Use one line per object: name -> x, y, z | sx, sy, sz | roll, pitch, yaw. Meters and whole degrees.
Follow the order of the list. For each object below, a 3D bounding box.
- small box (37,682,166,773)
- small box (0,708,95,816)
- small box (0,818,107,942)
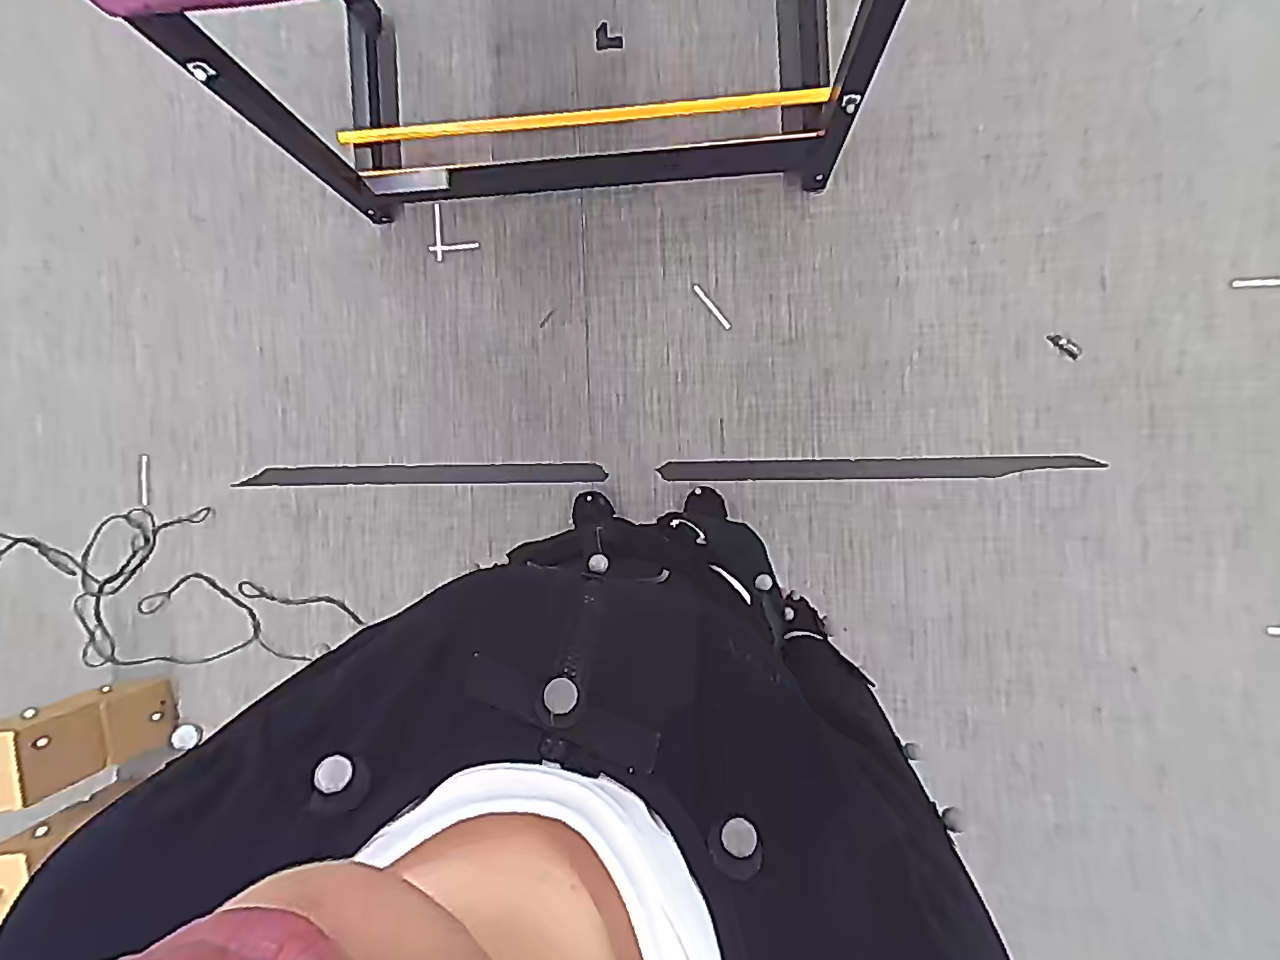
small box -> -1.396, 0.641, 1.408 | 0.179, 0.176, 0.168 | -6, 90, 4
small box -> -1.421, 0.643, 1.244 | 0.168, 0.176, 0.179 | -8, 90, 6
small box -> -1.394, 0.910, 1.244 | 0.168, 0.176, 0.179 | -9, 89, 5
